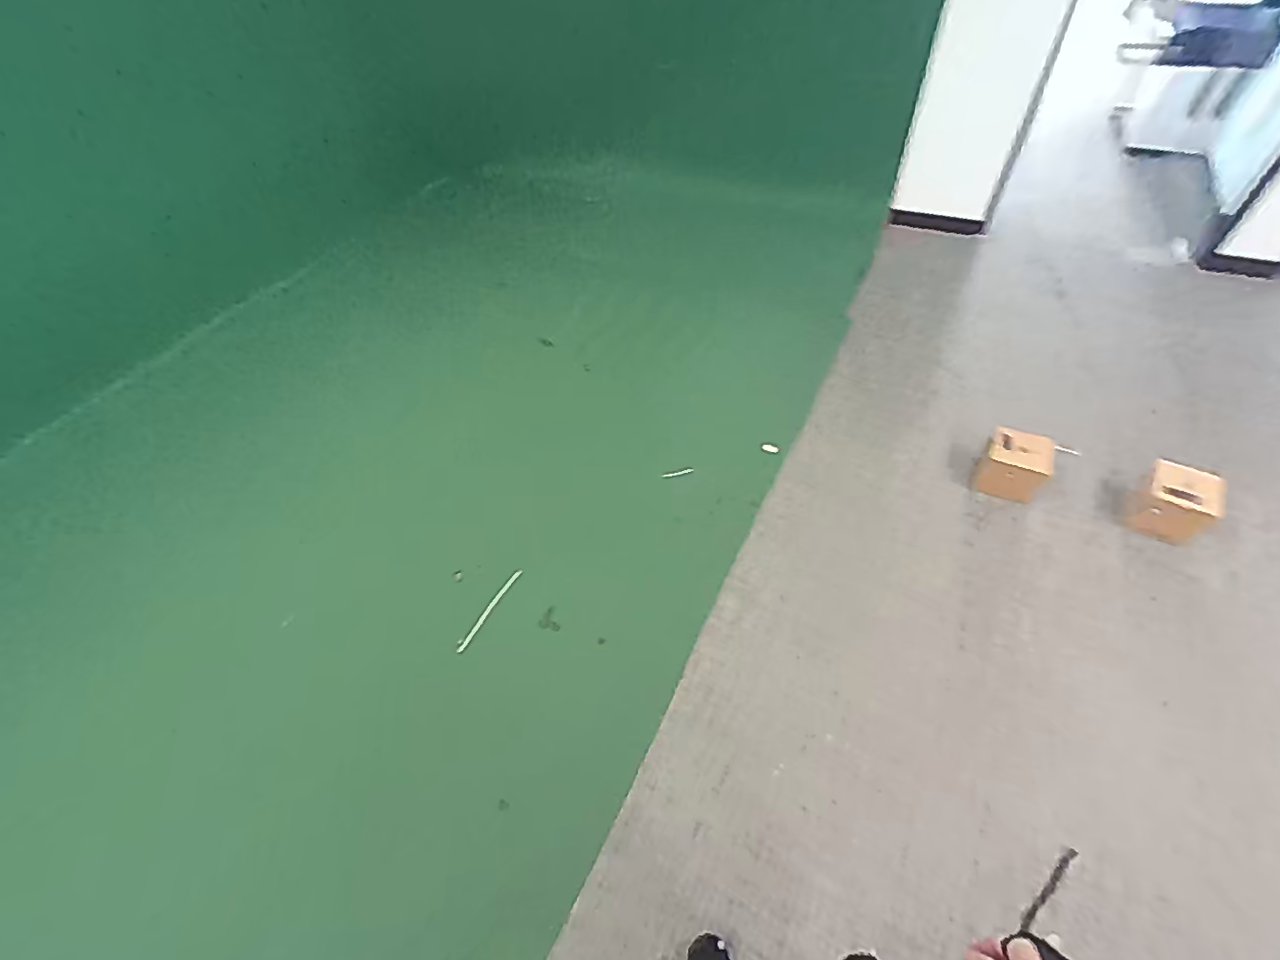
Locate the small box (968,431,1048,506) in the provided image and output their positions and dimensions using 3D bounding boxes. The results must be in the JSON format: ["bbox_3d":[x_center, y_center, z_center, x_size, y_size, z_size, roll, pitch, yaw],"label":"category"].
[{"bbox_3d":[1.259,-0.036,1.857,0.179,0.176,0.168,20,56,19],"label":"small box"}]
